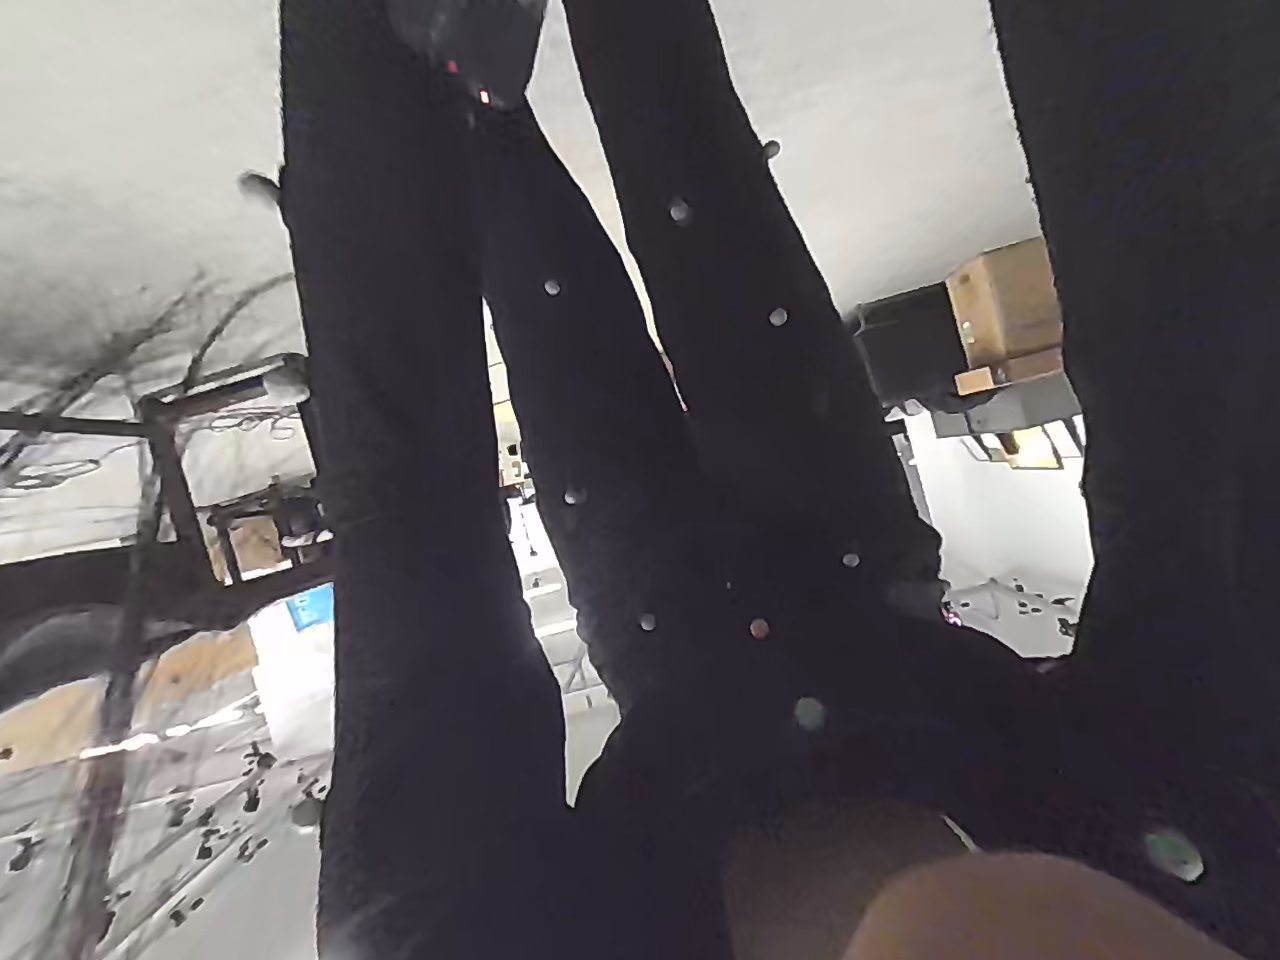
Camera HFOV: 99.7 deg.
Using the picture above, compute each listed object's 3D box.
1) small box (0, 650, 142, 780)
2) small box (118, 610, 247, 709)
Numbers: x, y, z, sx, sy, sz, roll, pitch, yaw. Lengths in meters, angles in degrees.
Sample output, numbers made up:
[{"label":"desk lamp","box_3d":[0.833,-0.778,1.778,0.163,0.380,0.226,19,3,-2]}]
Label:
[{"label":"small box","box_3d":[-1.140,0.448,1.047,0.179,0.176,0.168,-16,-178,0]},{"label":"small box","box_3d":[-1.137,0.436,1.344,0.179,0.176,0.168,-16,-179,0]}]
